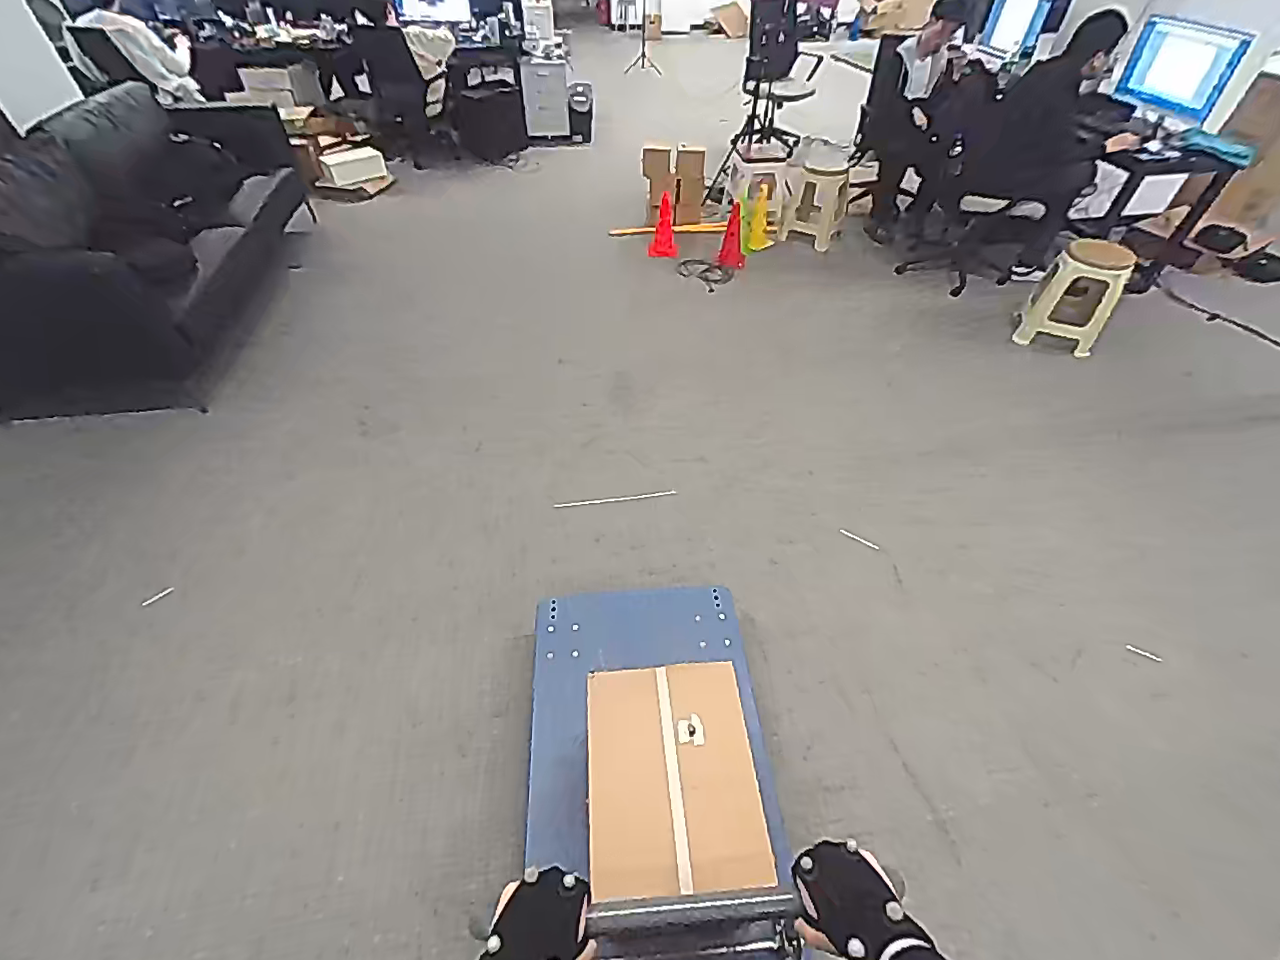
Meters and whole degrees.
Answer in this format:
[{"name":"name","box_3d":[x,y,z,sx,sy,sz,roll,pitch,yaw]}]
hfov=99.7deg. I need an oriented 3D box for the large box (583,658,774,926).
[{"name":"large box","box_3d":[0.054,0.642,1.129,0.320,0.320,0.408,-3,46,-4]}]
